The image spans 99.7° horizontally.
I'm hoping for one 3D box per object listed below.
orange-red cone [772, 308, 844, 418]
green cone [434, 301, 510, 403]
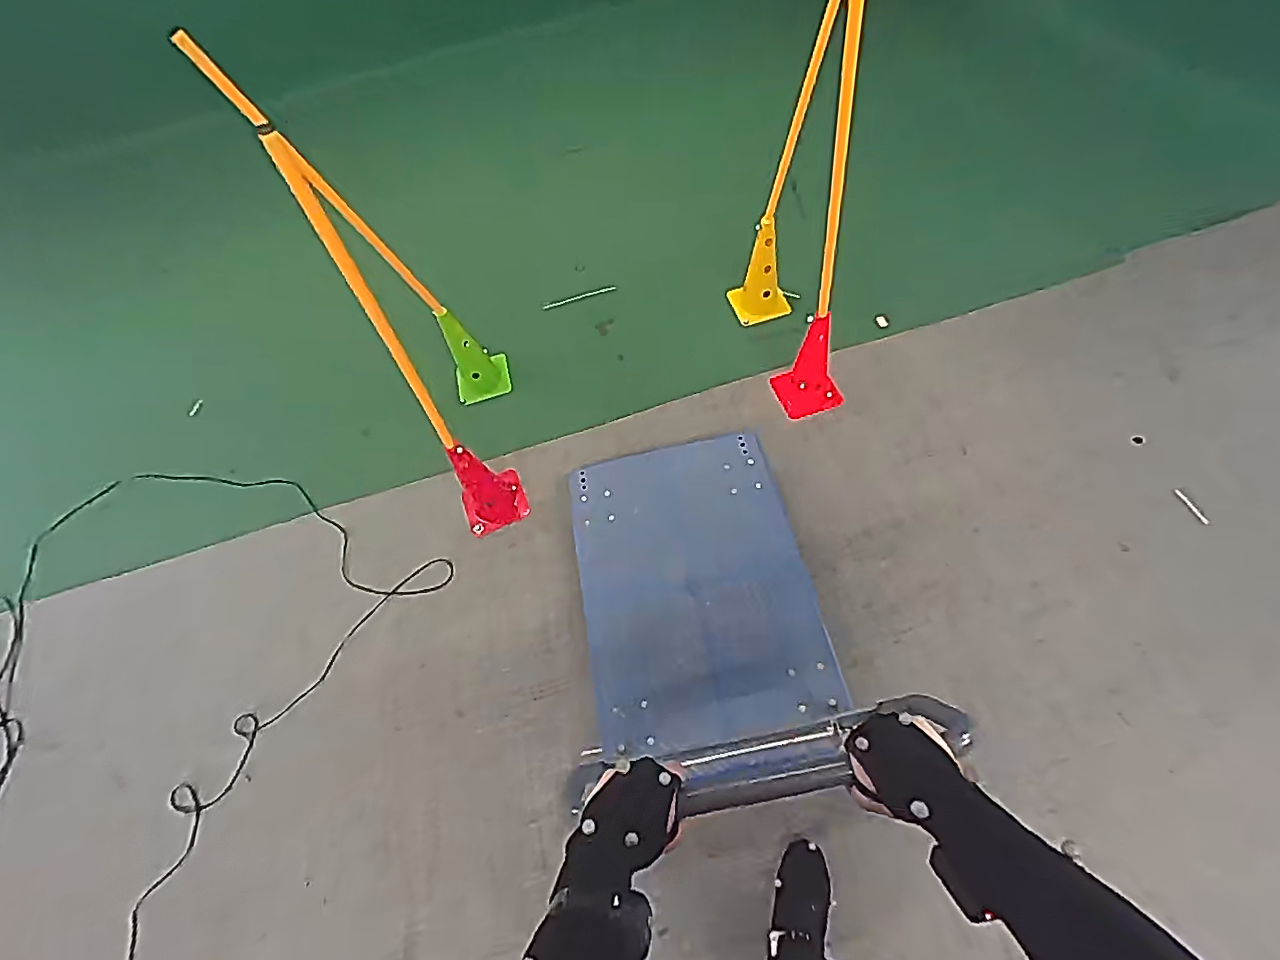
[{"bbox_3d":[0.548,-0.391,1.695,0.198,0.360,0.199,-16,58,-2],"label":"orange-red cone"},{"bbox_3d":[-0.621,-0.475,1.904,0.200,0.368,0.202,-17,59,-1],"label":"green cone"}]
